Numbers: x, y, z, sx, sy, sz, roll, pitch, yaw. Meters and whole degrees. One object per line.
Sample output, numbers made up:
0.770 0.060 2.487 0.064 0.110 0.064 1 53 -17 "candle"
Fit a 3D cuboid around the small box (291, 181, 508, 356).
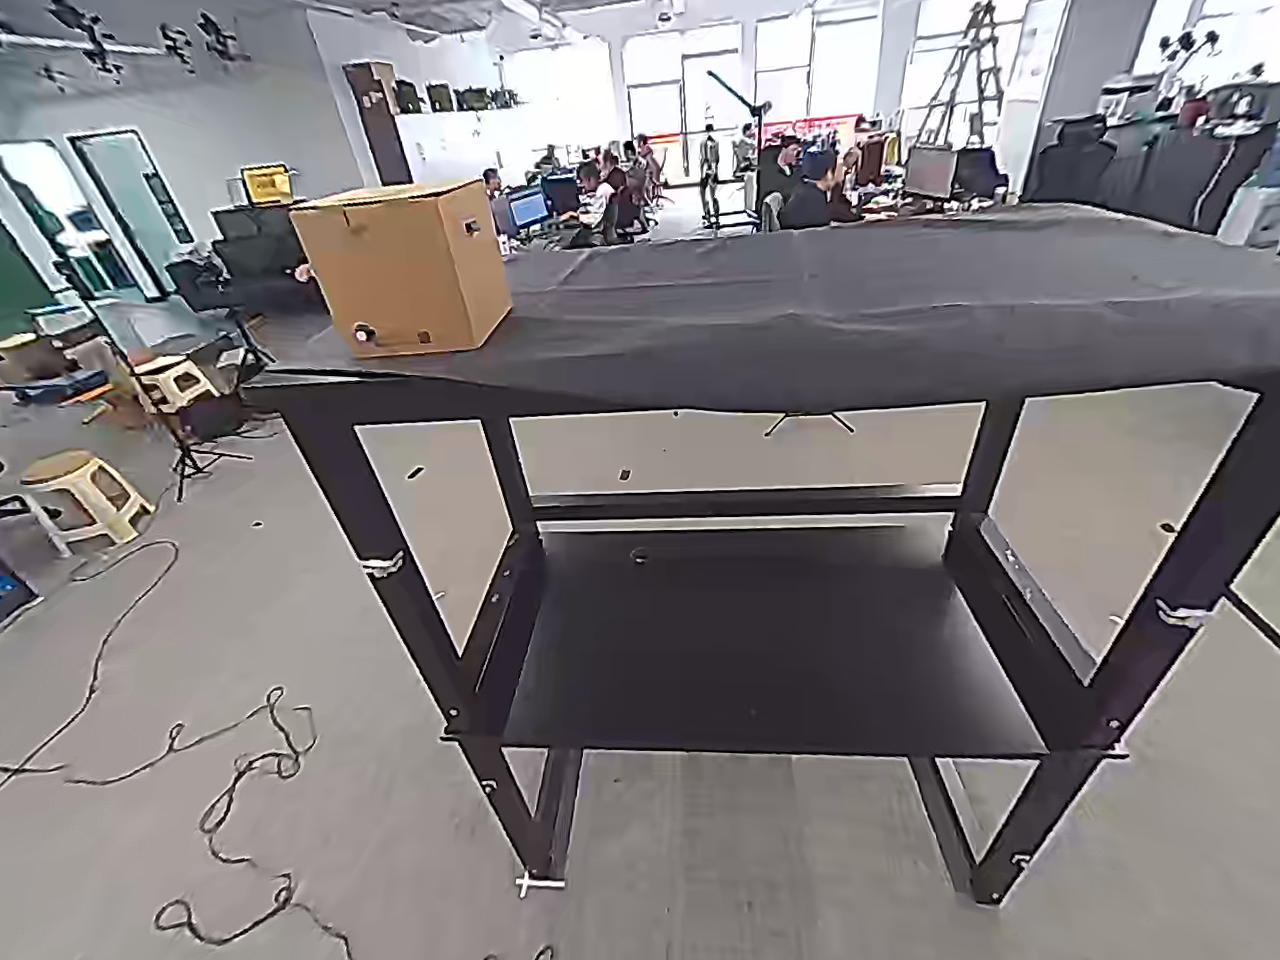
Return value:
-0.276 -0.261 0.674 0.168 0.176 0.179 -2 34 5 "small box"
